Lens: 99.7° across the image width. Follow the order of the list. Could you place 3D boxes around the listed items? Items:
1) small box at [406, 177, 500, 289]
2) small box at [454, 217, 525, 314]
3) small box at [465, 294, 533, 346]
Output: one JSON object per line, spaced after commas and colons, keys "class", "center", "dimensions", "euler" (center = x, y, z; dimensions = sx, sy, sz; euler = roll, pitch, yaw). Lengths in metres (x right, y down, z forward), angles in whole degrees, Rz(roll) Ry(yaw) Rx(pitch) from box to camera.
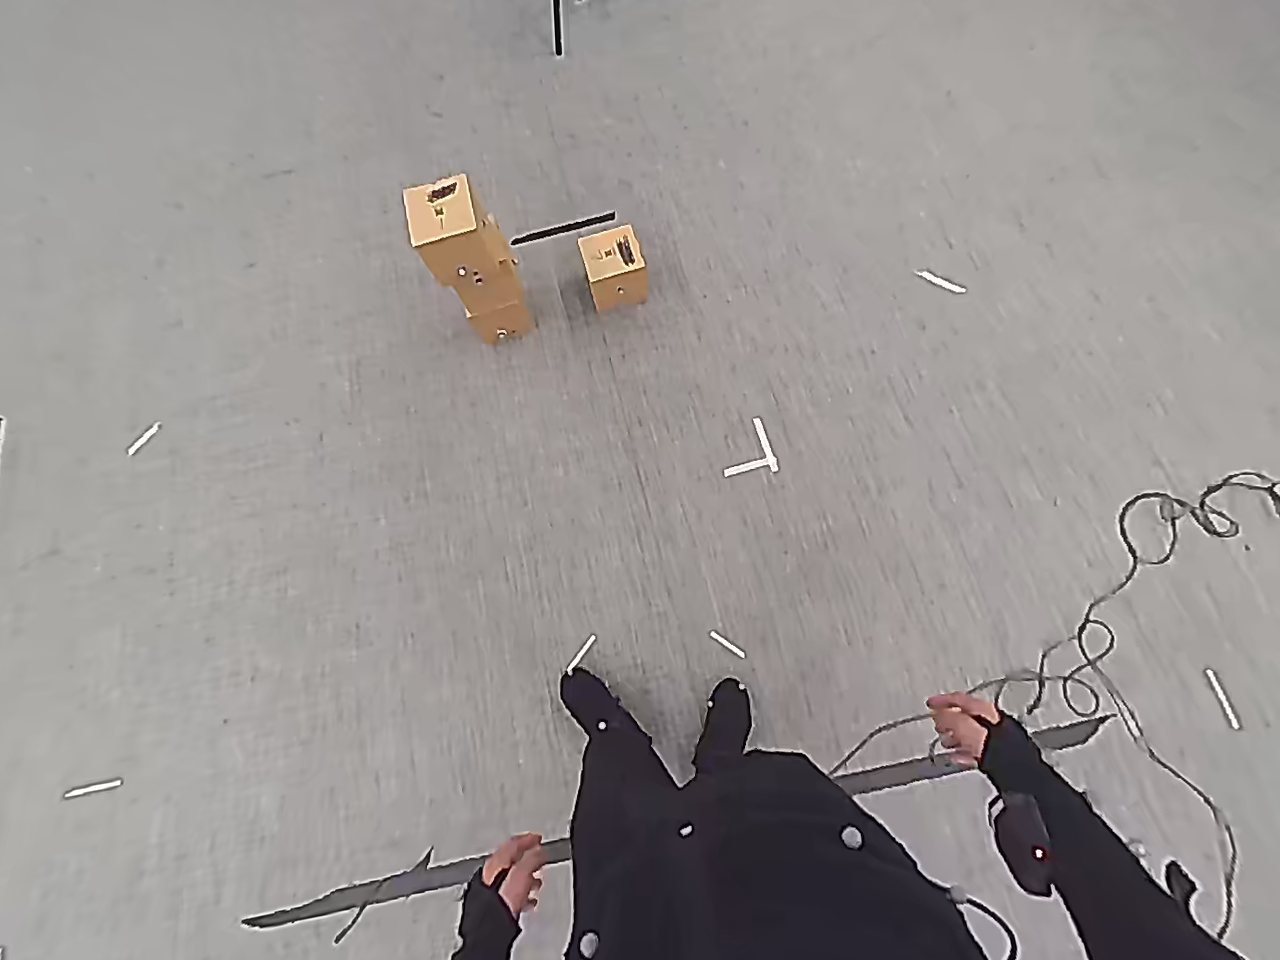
{"class": "small box", "center": [-0.475, -0.627, 1.388], "dimensions": [0.168, 0.176, 0.179], "euler": [-15, 74, 2]}
{"class": "small box", "center": [-0.453, -0.608, 1.552], "dimensions": [0.179, 0.176, 0.168], "euler": [-19, 73, -1]}
{"class": "small box", "center": [-0.452, -0.556, 1.708], "dimensions": [0.168, 0.176, 0.179], "euler": [-18, 74, 0]}
